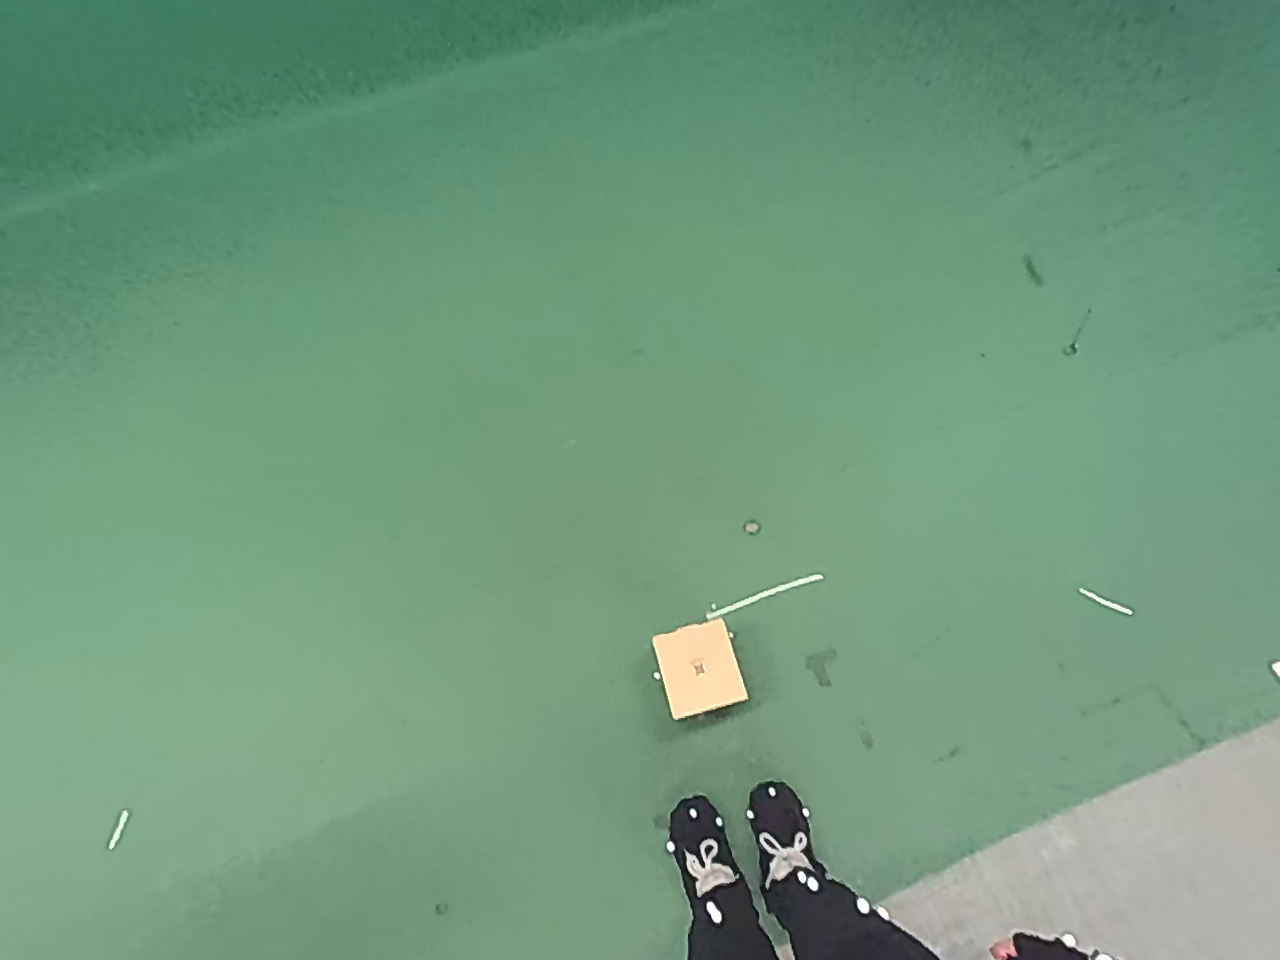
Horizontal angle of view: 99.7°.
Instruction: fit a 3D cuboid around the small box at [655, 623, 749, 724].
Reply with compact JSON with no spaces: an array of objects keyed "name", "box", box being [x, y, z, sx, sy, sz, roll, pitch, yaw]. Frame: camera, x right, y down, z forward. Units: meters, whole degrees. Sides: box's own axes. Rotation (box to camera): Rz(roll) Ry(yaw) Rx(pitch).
[{"name":"small box","box":[0.139,0.443,1.234,0.168,0.176,0.179,-15,65,-2]}]
